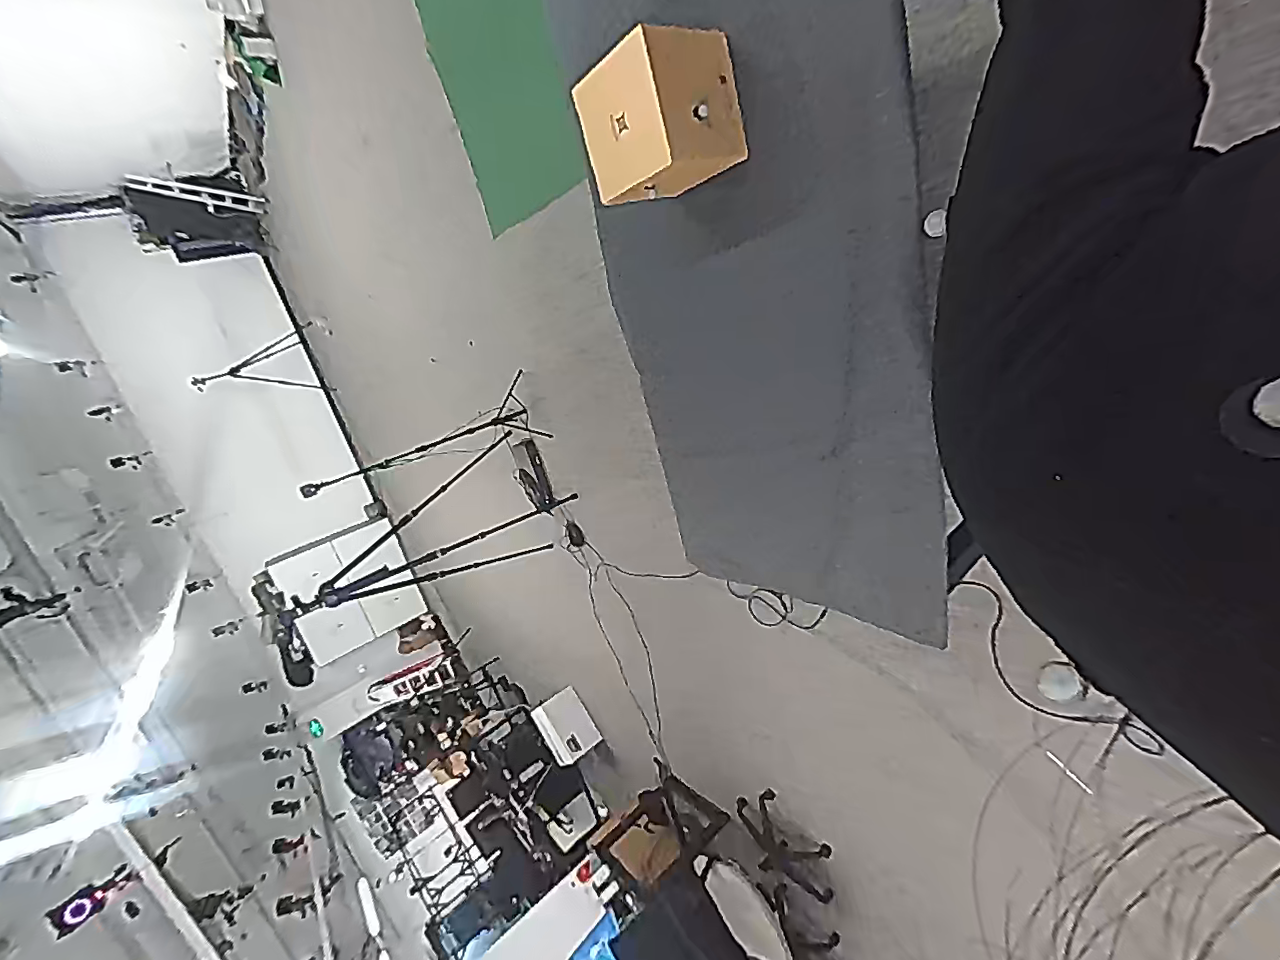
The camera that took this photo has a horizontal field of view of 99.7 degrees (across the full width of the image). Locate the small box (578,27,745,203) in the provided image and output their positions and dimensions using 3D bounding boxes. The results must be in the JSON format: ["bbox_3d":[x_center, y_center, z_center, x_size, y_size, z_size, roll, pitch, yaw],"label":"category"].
[{"bbox_3d":[0.039,-0.543,0.818,0.179,0.176,0.168,8,119,53],"label":"small box"}]
